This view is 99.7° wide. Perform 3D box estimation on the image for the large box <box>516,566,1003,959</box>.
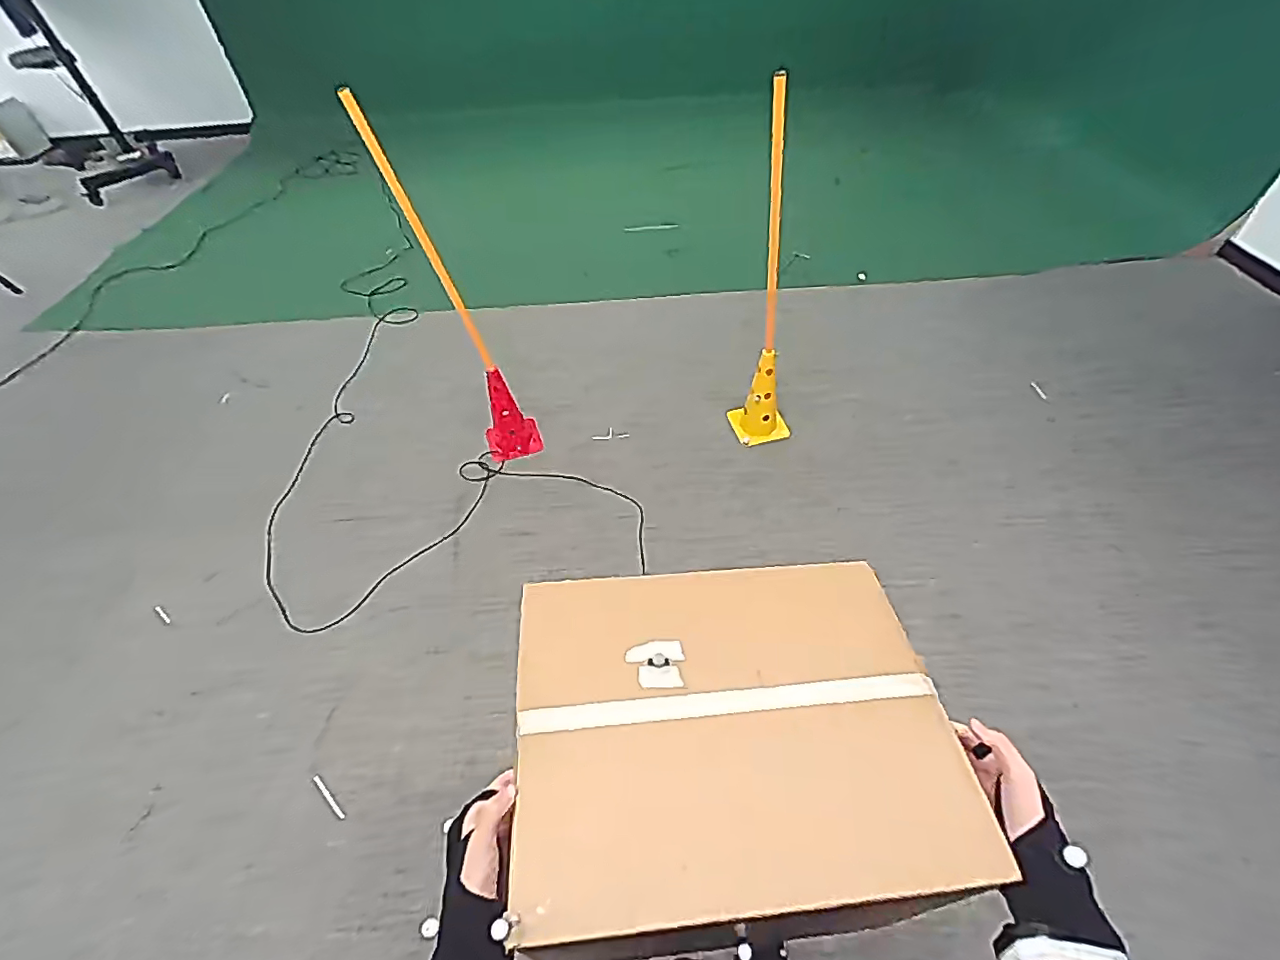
[{"bbox_3d":[0.085,0.329,0.631,0.408,0.320,0.320,-4,45,-5],"label":"large box"}]
